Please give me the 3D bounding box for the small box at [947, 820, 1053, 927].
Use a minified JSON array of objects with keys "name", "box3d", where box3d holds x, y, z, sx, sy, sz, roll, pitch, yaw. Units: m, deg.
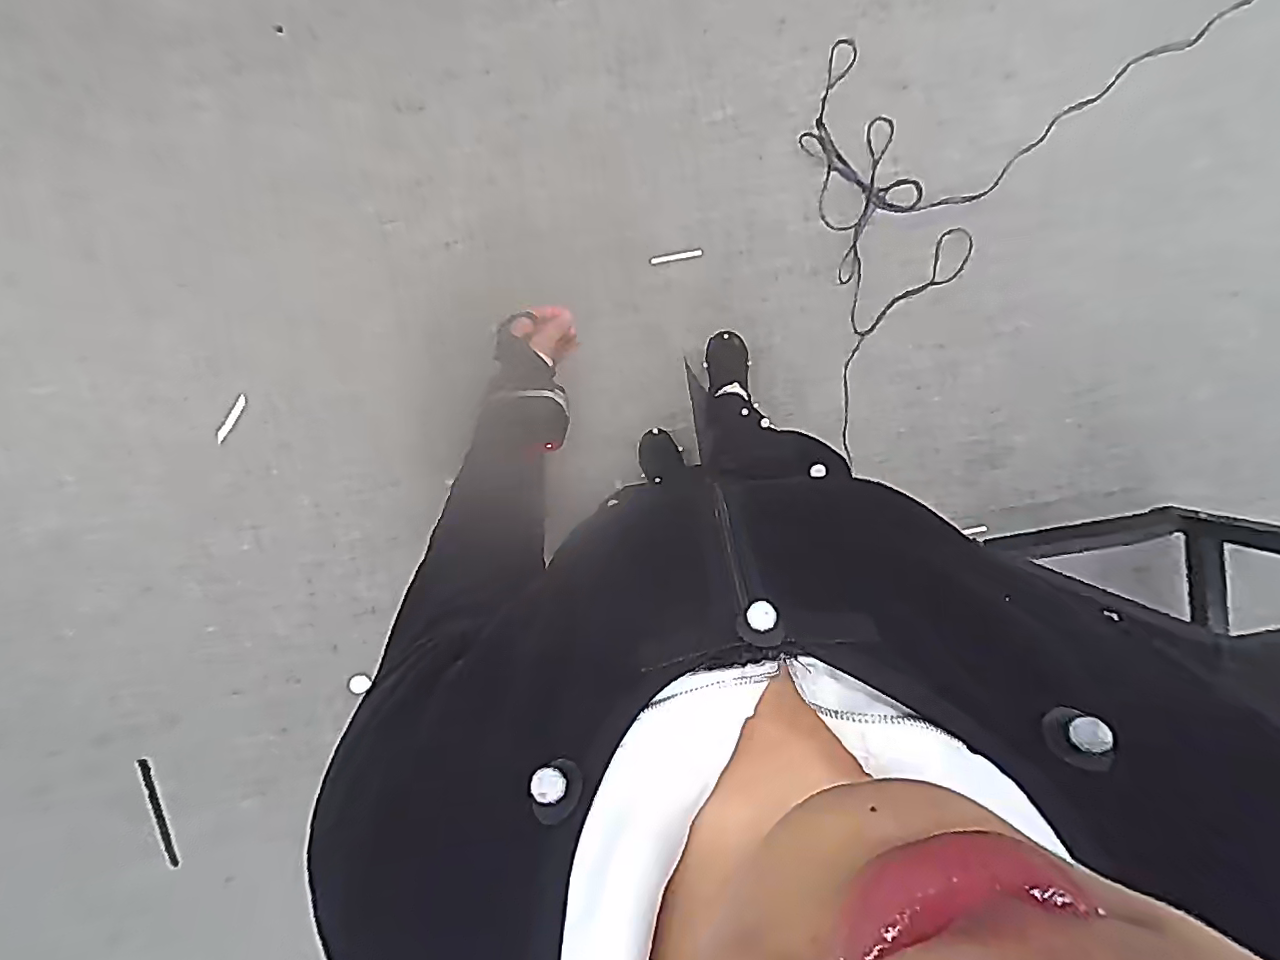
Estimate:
[{"name":"small box","box3d":[0.989,1.077,1.496,0.179,0.176,0.168,-11,95,3]}]
